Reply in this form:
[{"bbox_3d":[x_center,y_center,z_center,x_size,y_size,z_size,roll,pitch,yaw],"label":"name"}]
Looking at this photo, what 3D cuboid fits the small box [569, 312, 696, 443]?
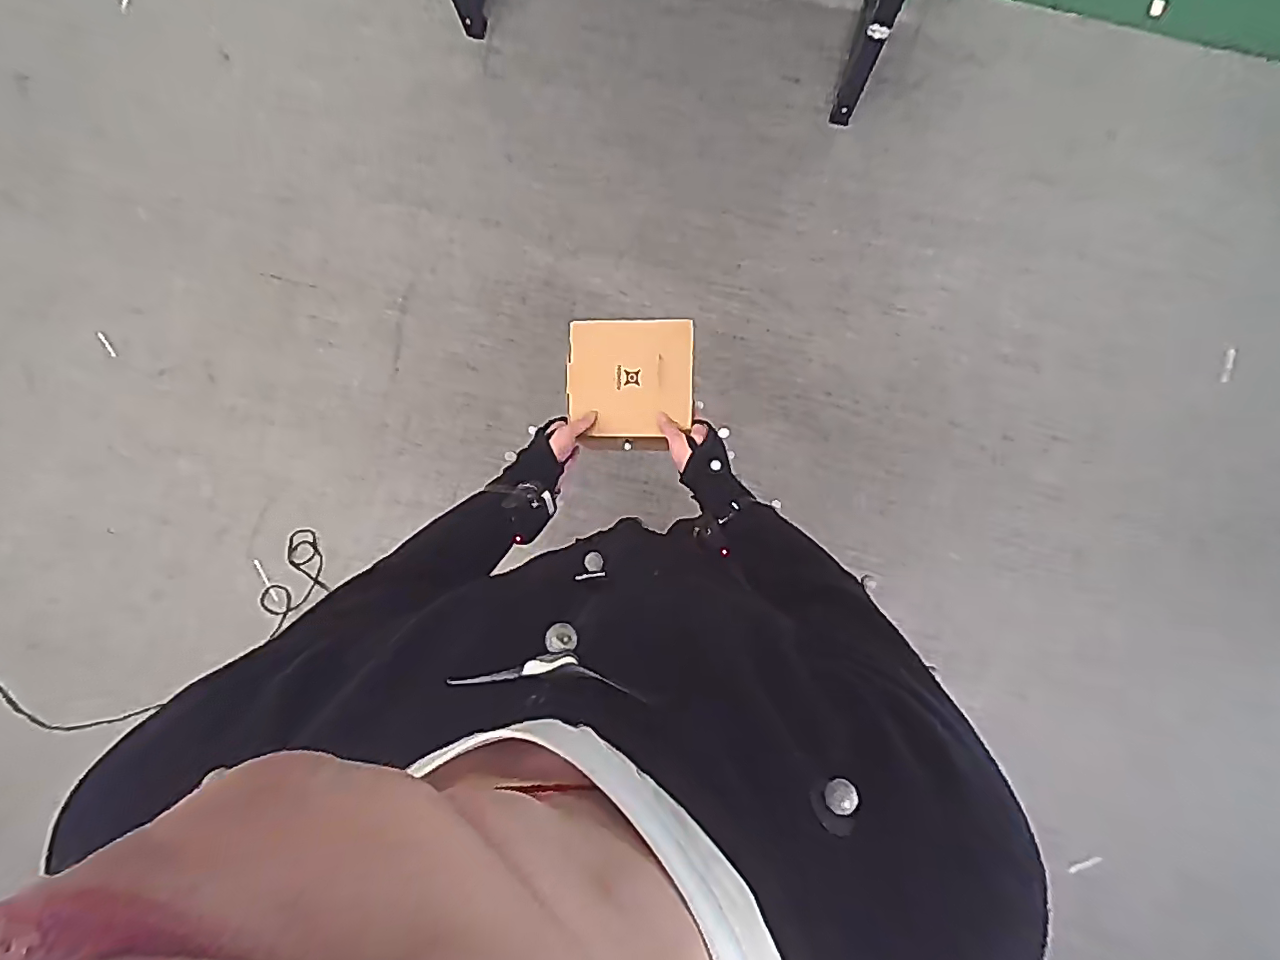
[{"bbox_3d":[-0.005,-0.146,0.826,0.179,0.176,0.168,0,87,4],"label":"small box"}]
